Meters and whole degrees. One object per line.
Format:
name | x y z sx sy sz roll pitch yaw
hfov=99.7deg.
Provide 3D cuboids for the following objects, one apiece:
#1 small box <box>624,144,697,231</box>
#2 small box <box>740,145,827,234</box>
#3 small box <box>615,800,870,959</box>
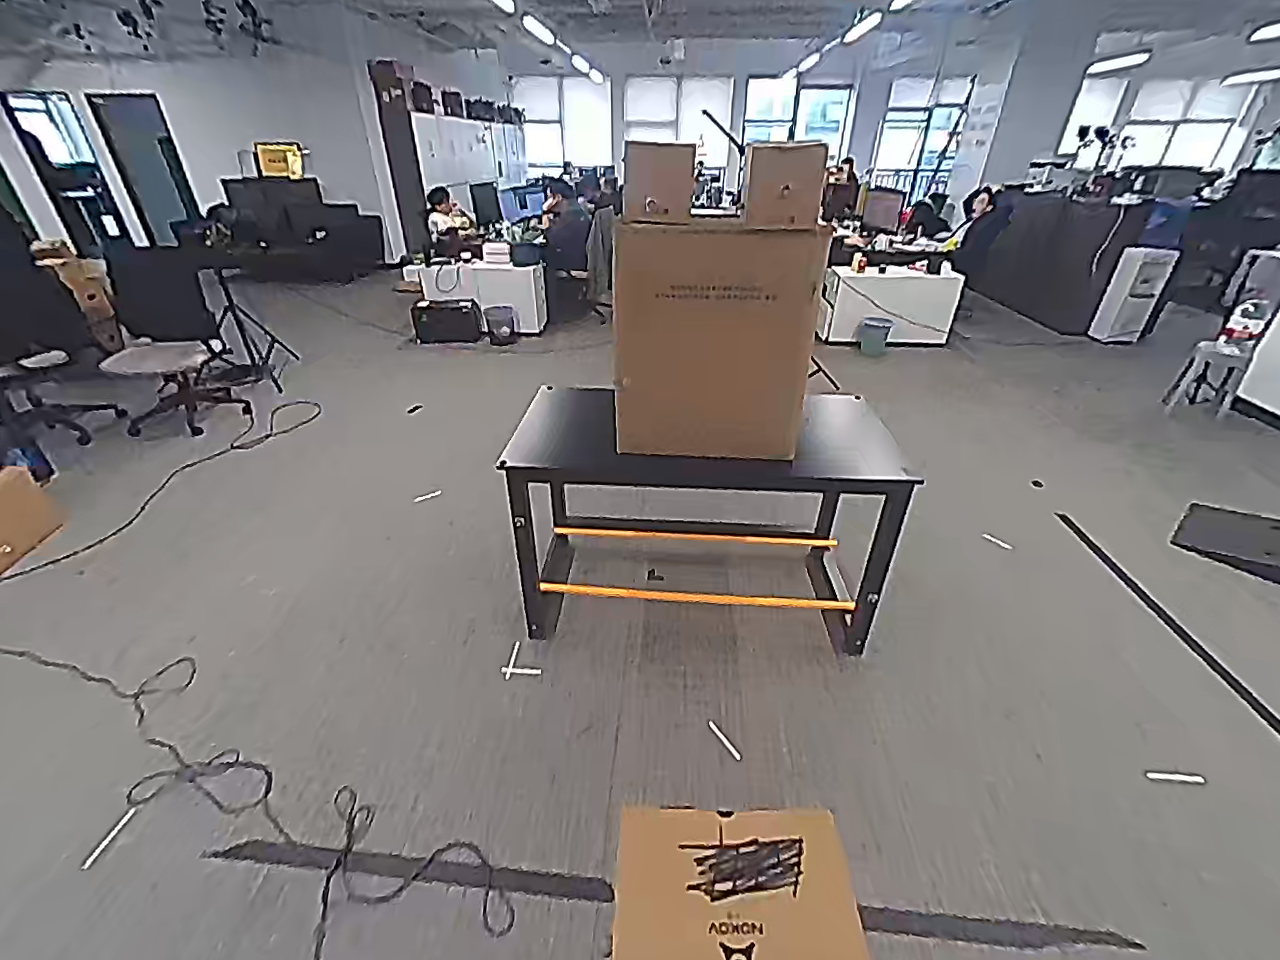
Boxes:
small box | 0.049 -0.720 1.326 0.168 0.176 0.179 3 33 2
small box | 0.328 -0.680 1.268 0.168 0.176 0.179 2 34 4
small box | 0.066 0.368 0.394 0.168 0.176 0.179 0 32 2
